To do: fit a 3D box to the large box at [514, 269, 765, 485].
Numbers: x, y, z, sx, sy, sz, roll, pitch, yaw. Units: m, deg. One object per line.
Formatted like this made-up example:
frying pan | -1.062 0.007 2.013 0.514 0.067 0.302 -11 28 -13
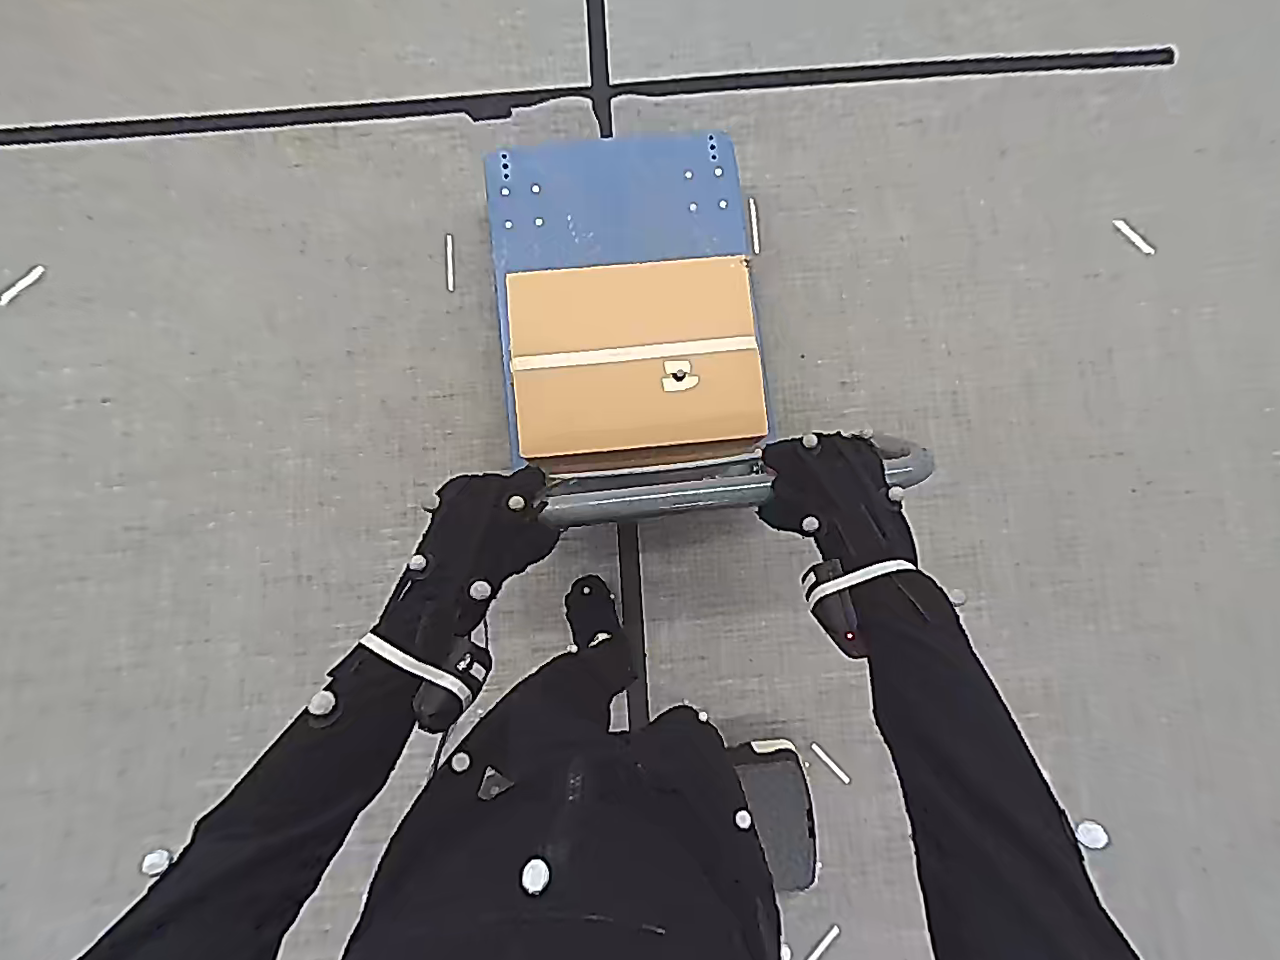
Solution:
large box | -0.010 -0.178 1.057 0.408 0.320 0.320 -5 84 -3
